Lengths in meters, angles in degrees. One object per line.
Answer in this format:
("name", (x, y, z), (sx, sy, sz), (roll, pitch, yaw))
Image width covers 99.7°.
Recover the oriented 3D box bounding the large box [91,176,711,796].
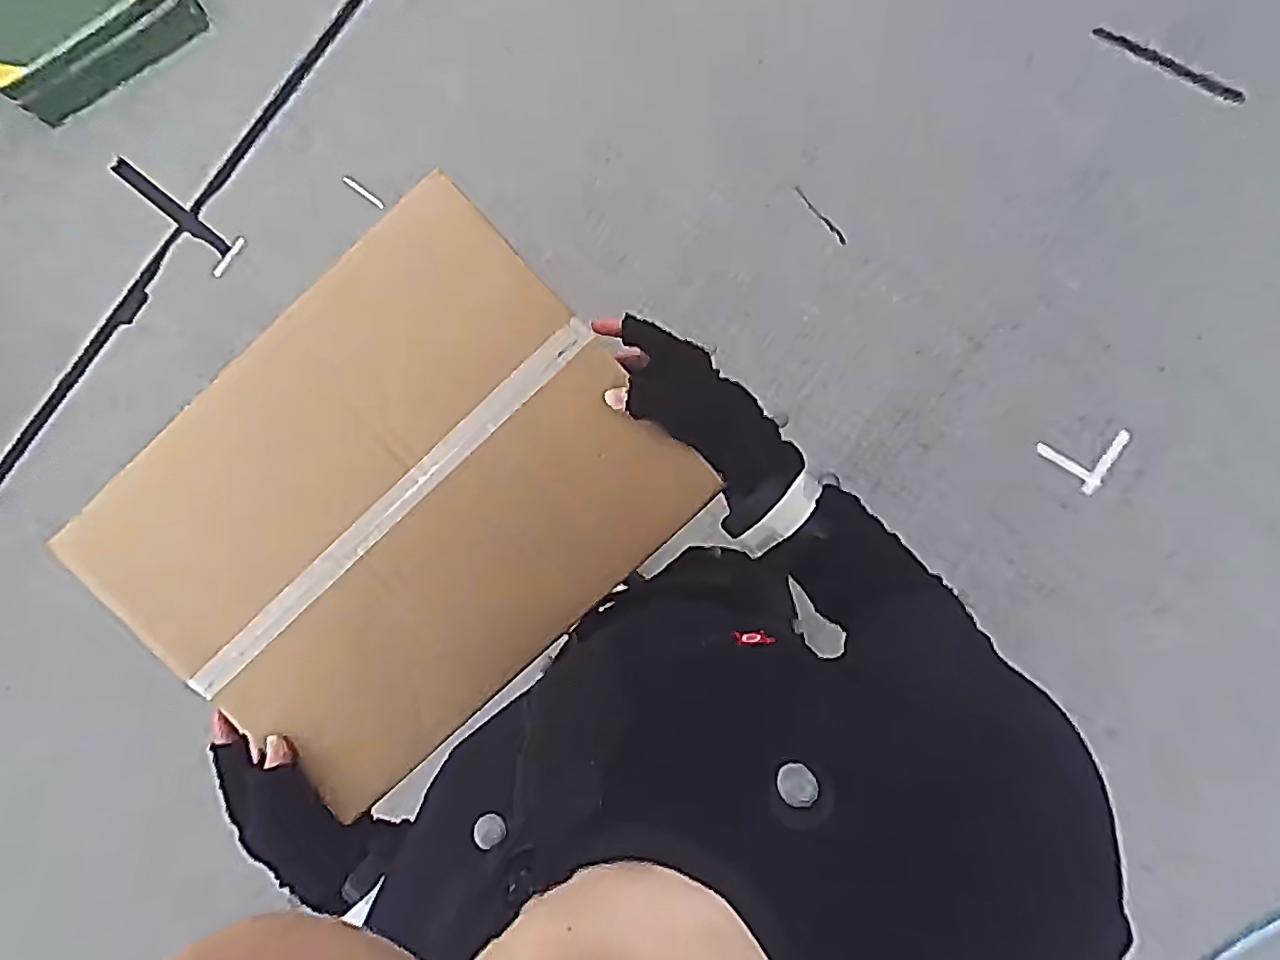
("large box", (-0.189, 0.006, 0.569), (0.408, 0.320, 0.320), (-42, 95, 3))
